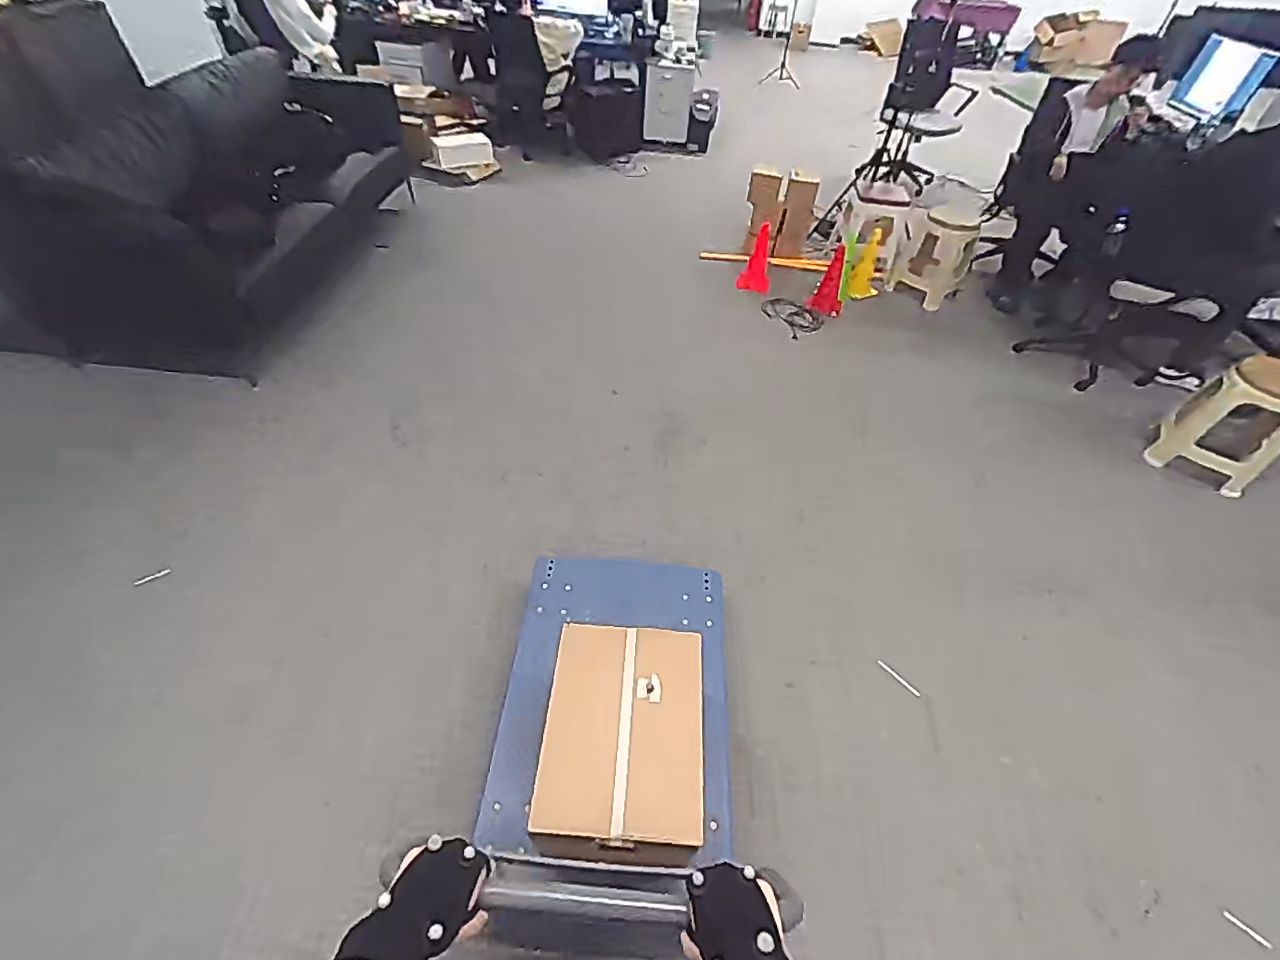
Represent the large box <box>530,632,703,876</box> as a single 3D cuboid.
[{"bbox_3d":[-0.042,0.598,1.186,0.320,0.320,0.408,5,46,0],"label":"large box"}]
